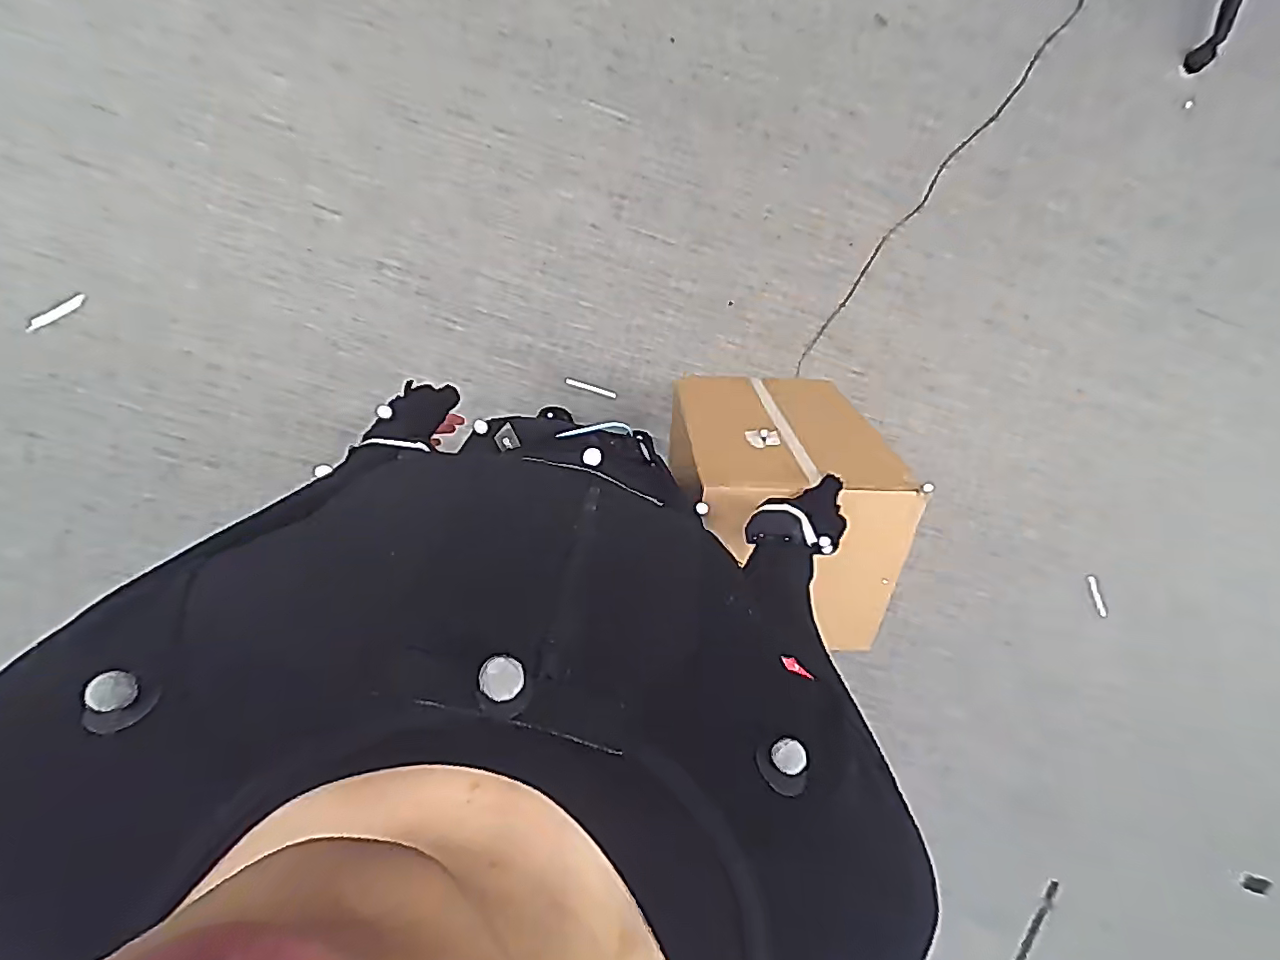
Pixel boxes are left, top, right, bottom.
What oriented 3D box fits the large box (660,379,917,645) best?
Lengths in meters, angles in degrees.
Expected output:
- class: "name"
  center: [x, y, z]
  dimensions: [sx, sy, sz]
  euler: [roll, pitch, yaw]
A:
- class: "large box"
  center: [0.215, 0.041, 0.984]
  dimensions: [0.320, 0.408, 0.320]
  euler: [0, 123, -3]
